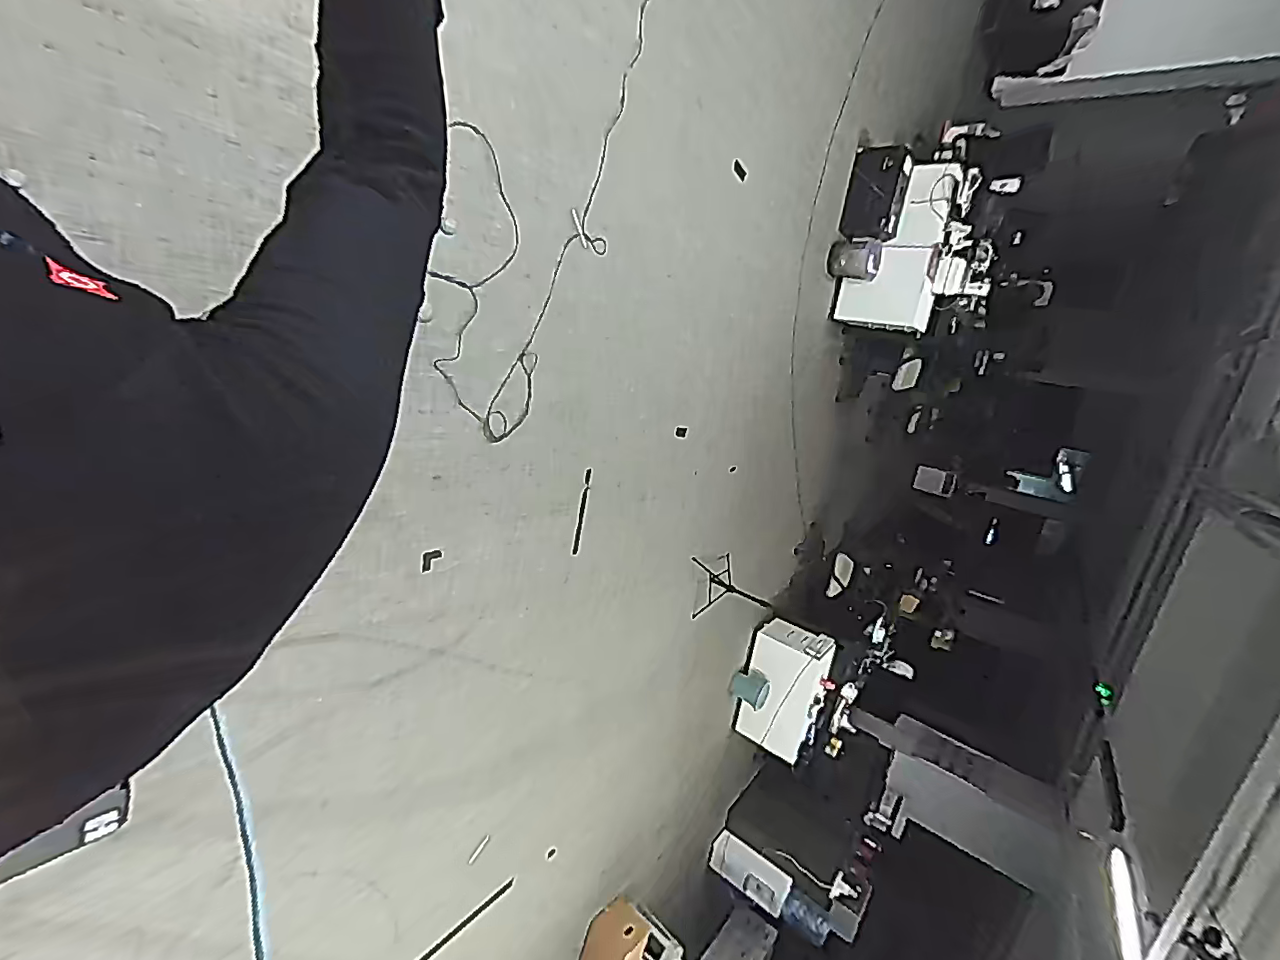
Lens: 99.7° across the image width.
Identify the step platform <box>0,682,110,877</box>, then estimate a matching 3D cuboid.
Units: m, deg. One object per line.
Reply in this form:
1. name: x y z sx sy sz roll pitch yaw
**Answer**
1. step platform: -1.376 0.631 0.916 0.684 0.204 0.286 -12 116 -50
